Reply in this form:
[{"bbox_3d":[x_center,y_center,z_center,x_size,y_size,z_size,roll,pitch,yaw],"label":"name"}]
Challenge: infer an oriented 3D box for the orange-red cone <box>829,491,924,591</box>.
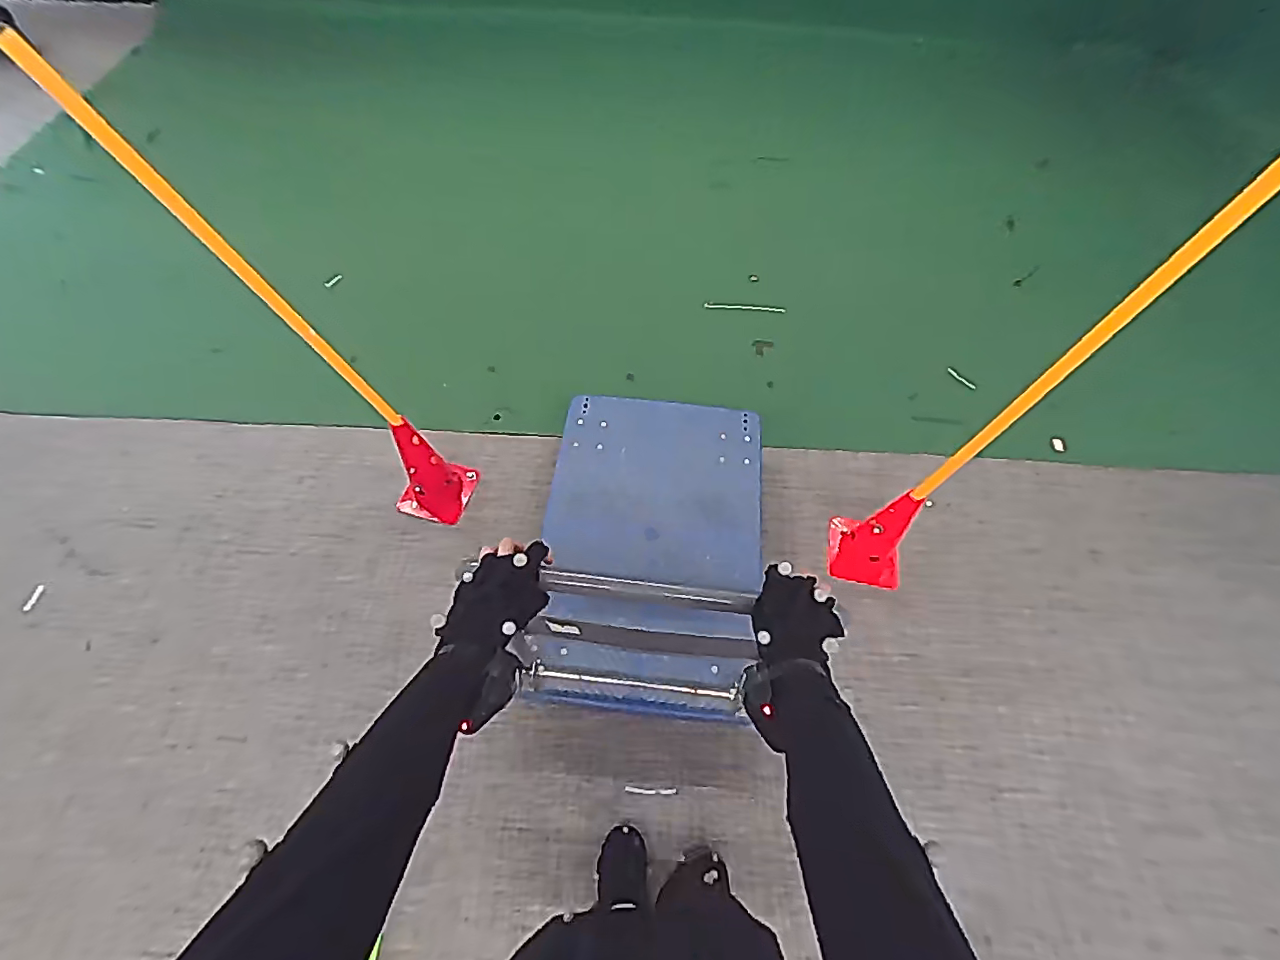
[{"bbox_3d":[0.662,0.132,1.444,0.198,0.360,0.199,12,60,6],"label":"orange-red cone"}]
